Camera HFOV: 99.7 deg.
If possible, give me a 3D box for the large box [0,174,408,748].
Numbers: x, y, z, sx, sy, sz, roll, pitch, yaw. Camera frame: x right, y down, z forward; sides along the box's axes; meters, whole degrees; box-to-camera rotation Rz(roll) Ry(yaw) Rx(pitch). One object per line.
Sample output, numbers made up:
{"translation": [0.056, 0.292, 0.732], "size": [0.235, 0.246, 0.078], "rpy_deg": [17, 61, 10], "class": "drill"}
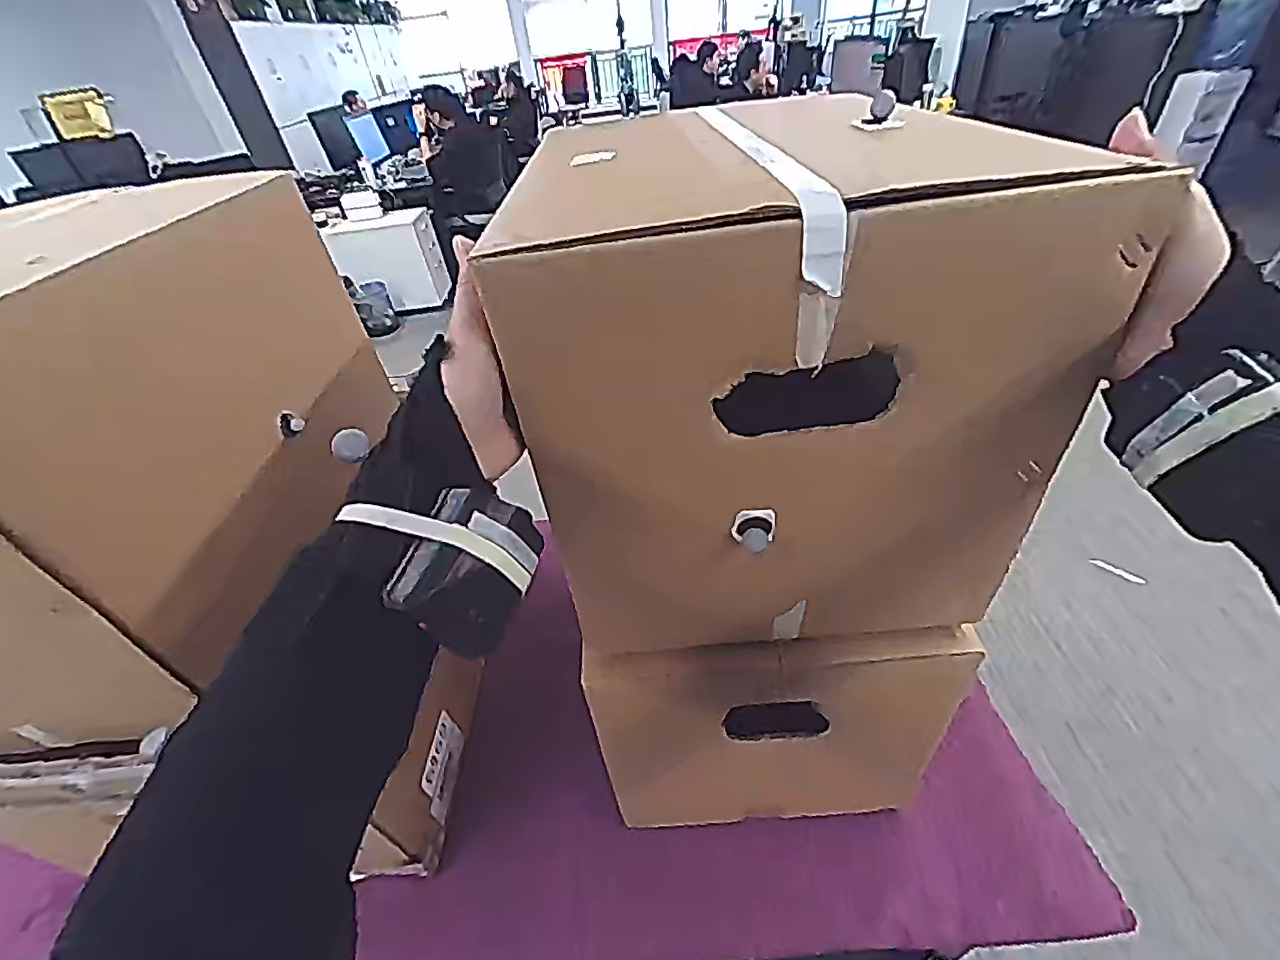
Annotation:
{"translation": [-0.455, -0.038, 0.475], "size": [0.320, 0.320, 0.408], "rpy_deg": [-8, 40, 3], "class": "large box"}
